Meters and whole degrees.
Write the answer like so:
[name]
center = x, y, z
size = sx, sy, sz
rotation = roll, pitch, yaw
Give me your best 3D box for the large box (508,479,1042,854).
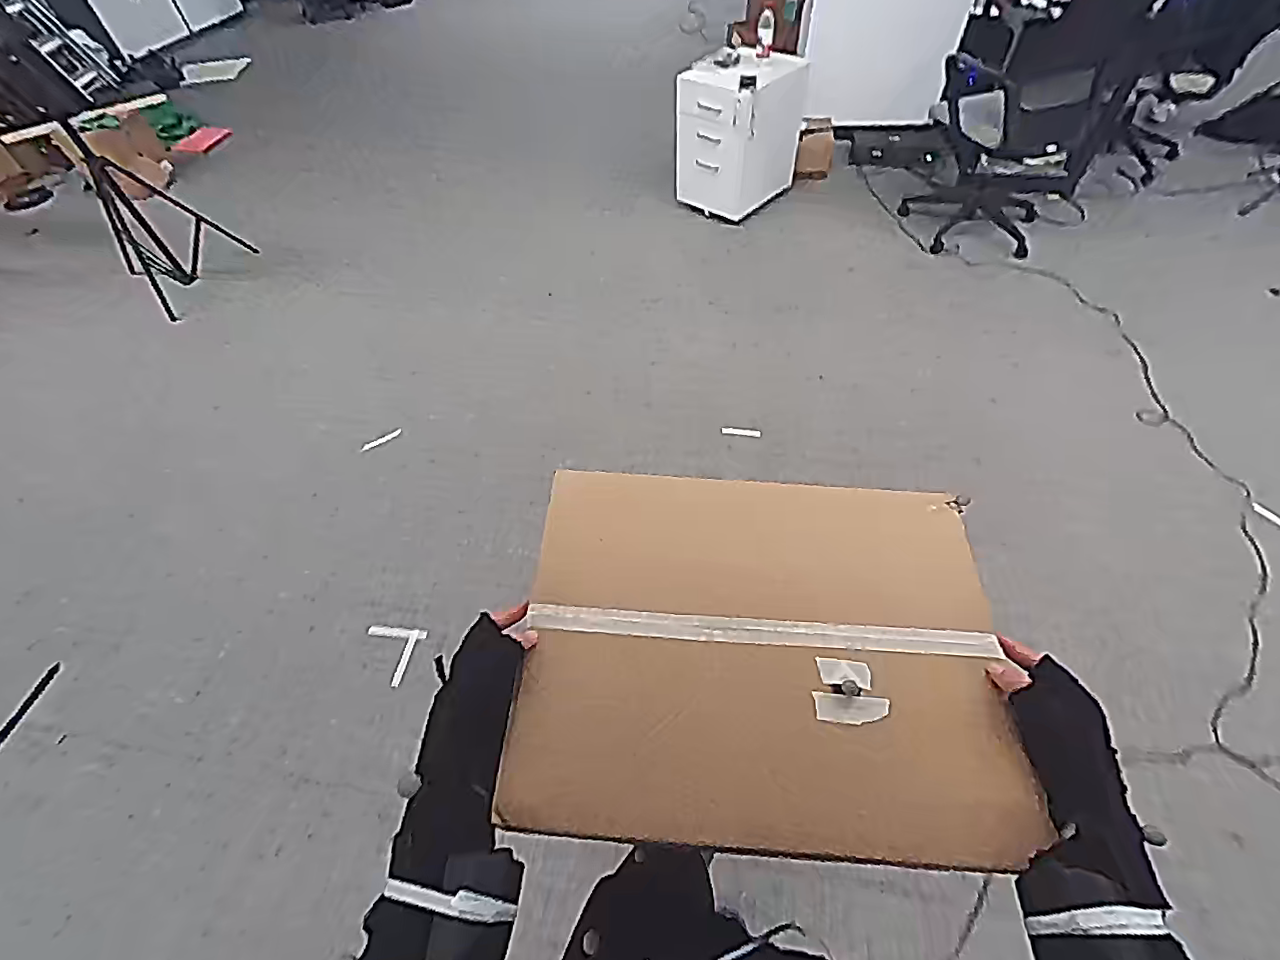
[large box]
center = 0.102, 0.217, 0.602
size = 0.408, 0.320, 0.320
rotation = 3, 57, 1
